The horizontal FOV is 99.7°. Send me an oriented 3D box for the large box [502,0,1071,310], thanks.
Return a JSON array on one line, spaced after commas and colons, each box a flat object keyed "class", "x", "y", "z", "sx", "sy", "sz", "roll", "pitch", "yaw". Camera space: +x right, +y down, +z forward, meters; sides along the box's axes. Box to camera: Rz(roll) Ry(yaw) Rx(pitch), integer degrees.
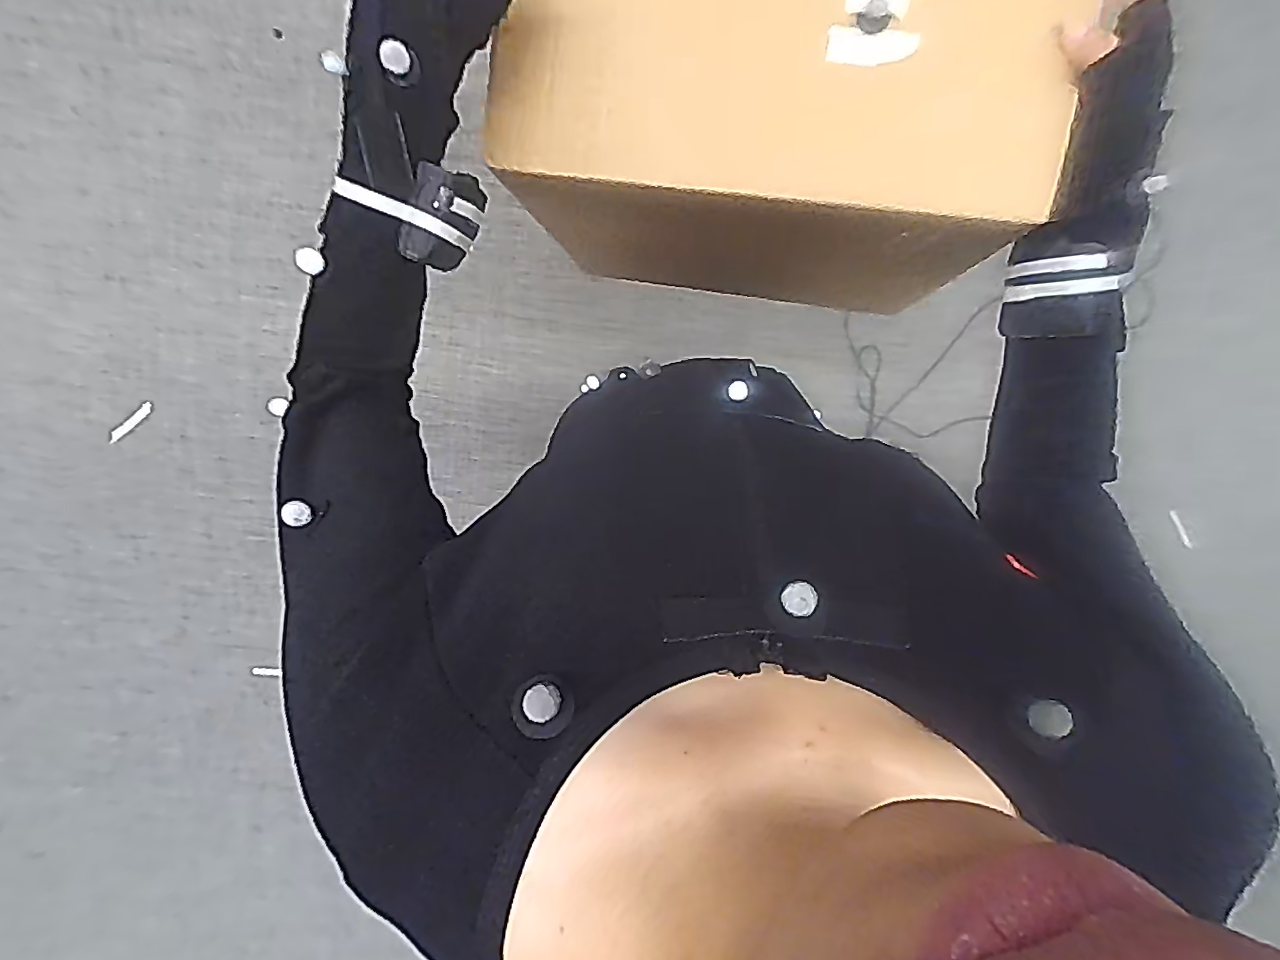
[{"class": "large box", "x": 0.124, "y": -0.378, "z": 0.540, "sx": 0.408, "sy": 0.320, "sz": 0.320, "roll": 10, "pitch": 97, "yaw": 9}]
